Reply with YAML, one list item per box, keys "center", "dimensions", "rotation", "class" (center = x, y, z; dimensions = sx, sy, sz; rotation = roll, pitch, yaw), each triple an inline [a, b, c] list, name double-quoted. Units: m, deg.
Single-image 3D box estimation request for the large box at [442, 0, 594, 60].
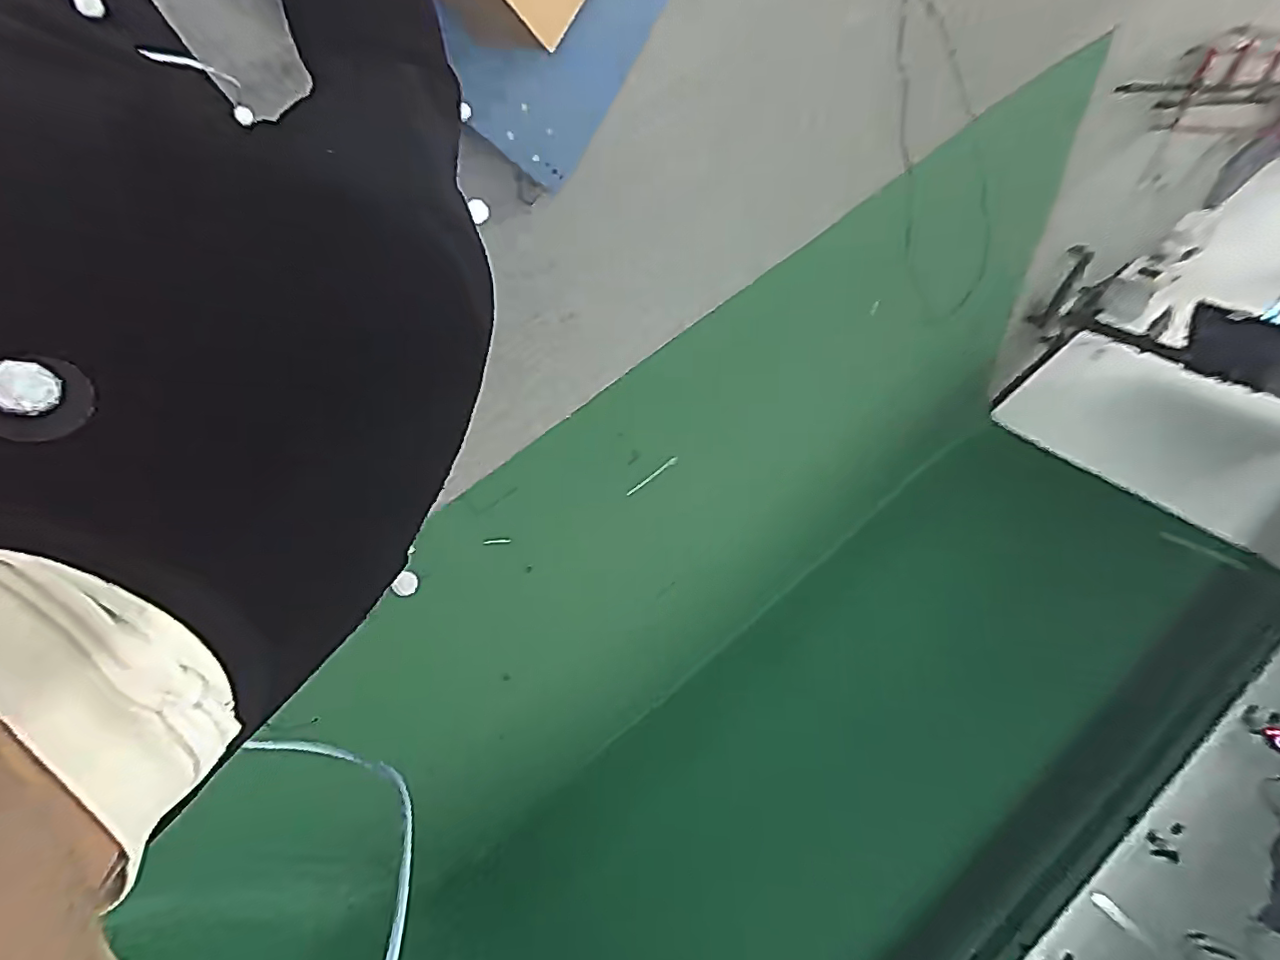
- center: [-0.266, -1.007, 0.887]
  dimensions: [0.320, 0.320, 0.408]
  rotation: [-54, 143, 11]
  class: "large box"
